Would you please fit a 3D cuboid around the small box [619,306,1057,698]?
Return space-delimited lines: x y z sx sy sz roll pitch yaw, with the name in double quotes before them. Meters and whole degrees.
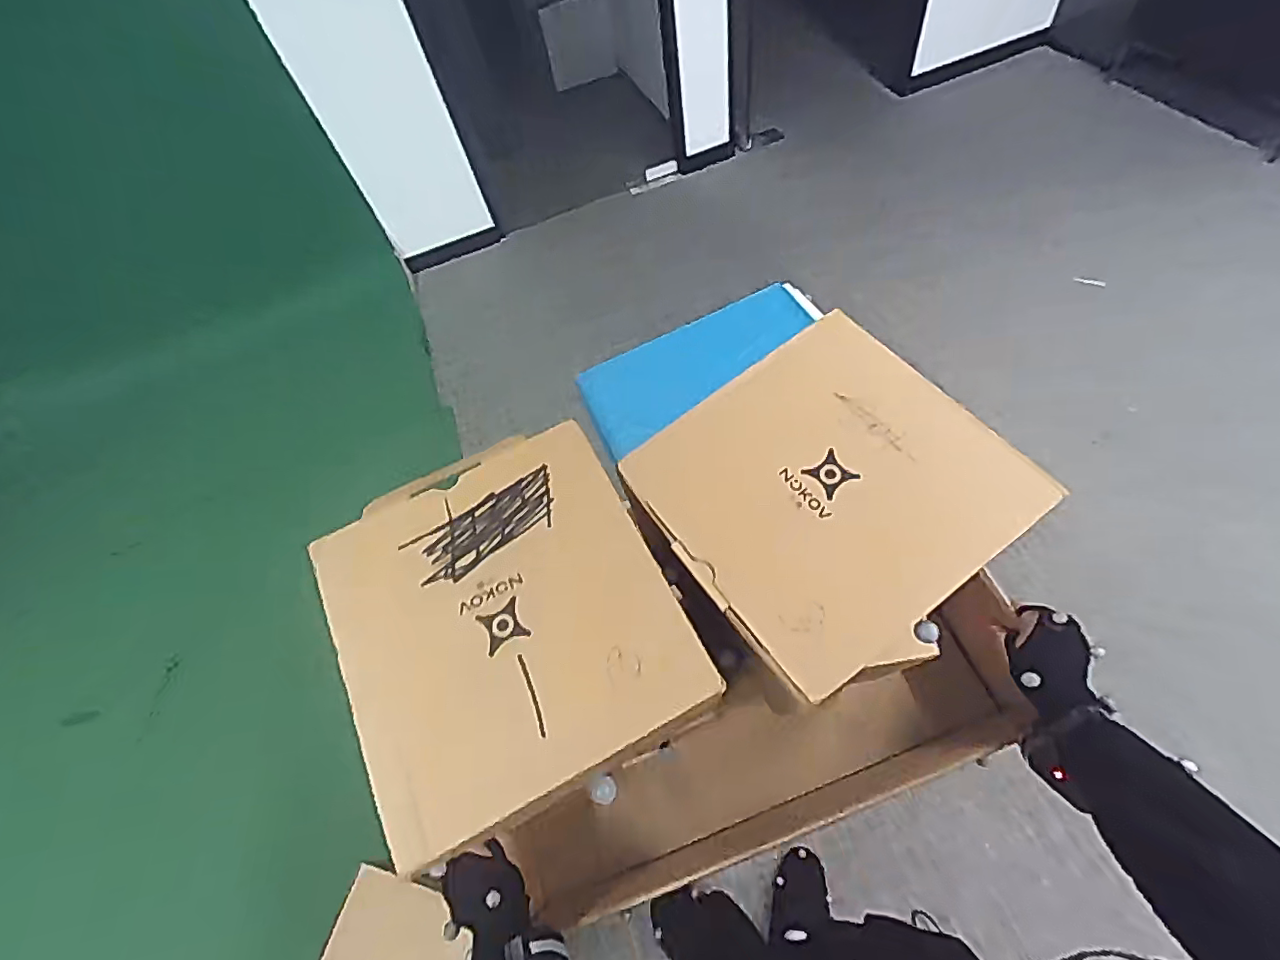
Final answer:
"small box" 0.113 0.028 0.369 0.179 0.176 0.168 -35 64 -8
